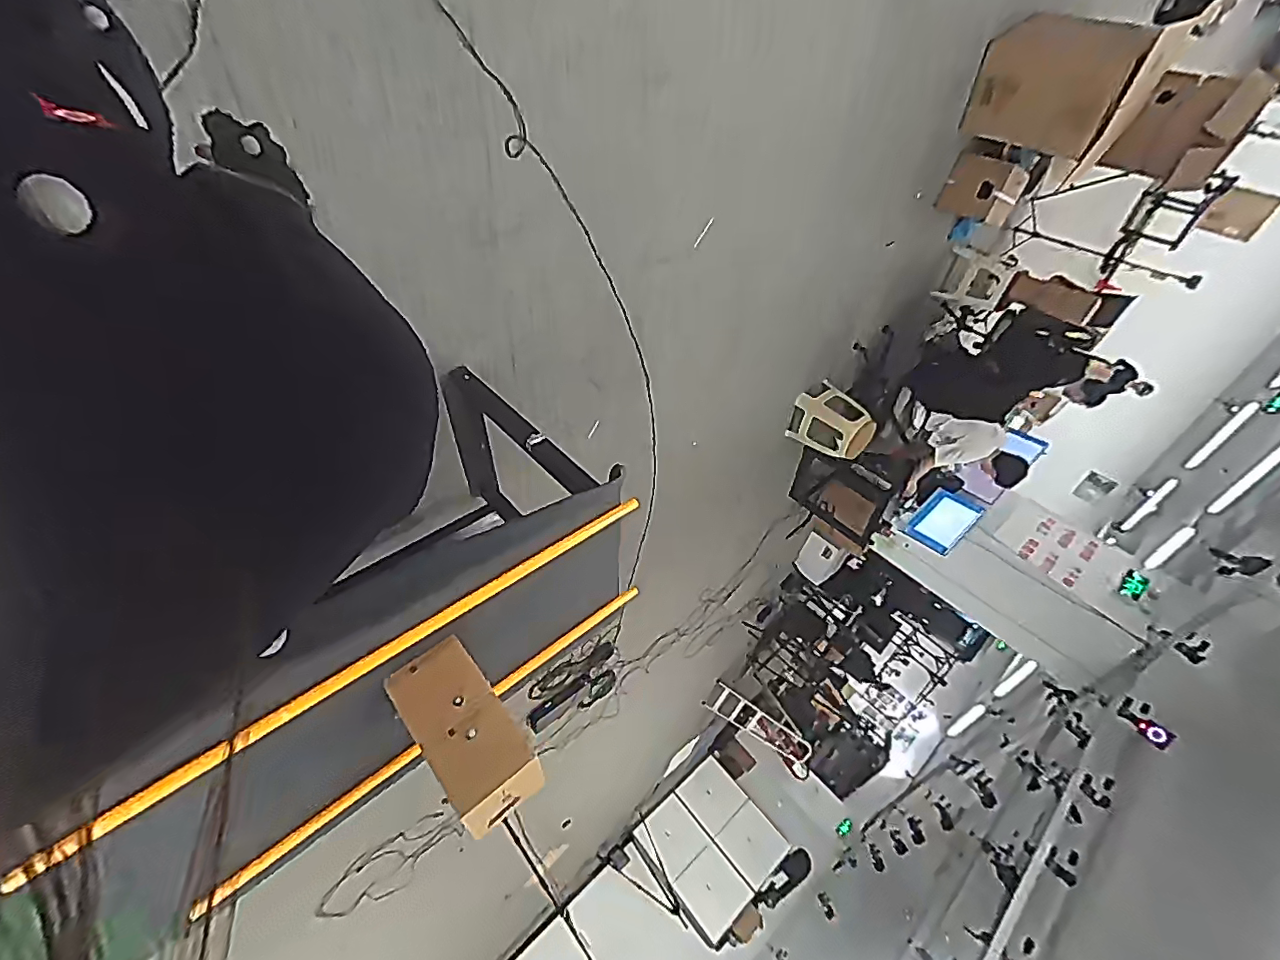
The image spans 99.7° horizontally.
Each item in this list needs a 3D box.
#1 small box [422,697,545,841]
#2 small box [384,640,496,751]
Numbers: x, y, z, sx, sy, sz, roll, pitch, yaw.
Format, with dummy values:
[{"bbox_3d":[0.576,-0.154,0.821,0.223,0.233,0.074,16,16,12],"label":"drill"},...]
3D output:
[{"bbox_3d":[-0.310,0.575,1.088,0.168,0.176,0.179,-31,144,-29],"label":"small box"},{"bbox_3d":[-0.419,0.481,1.169,0.168,0.176,0.179,-33,146,-29],"label":"small box"}]
